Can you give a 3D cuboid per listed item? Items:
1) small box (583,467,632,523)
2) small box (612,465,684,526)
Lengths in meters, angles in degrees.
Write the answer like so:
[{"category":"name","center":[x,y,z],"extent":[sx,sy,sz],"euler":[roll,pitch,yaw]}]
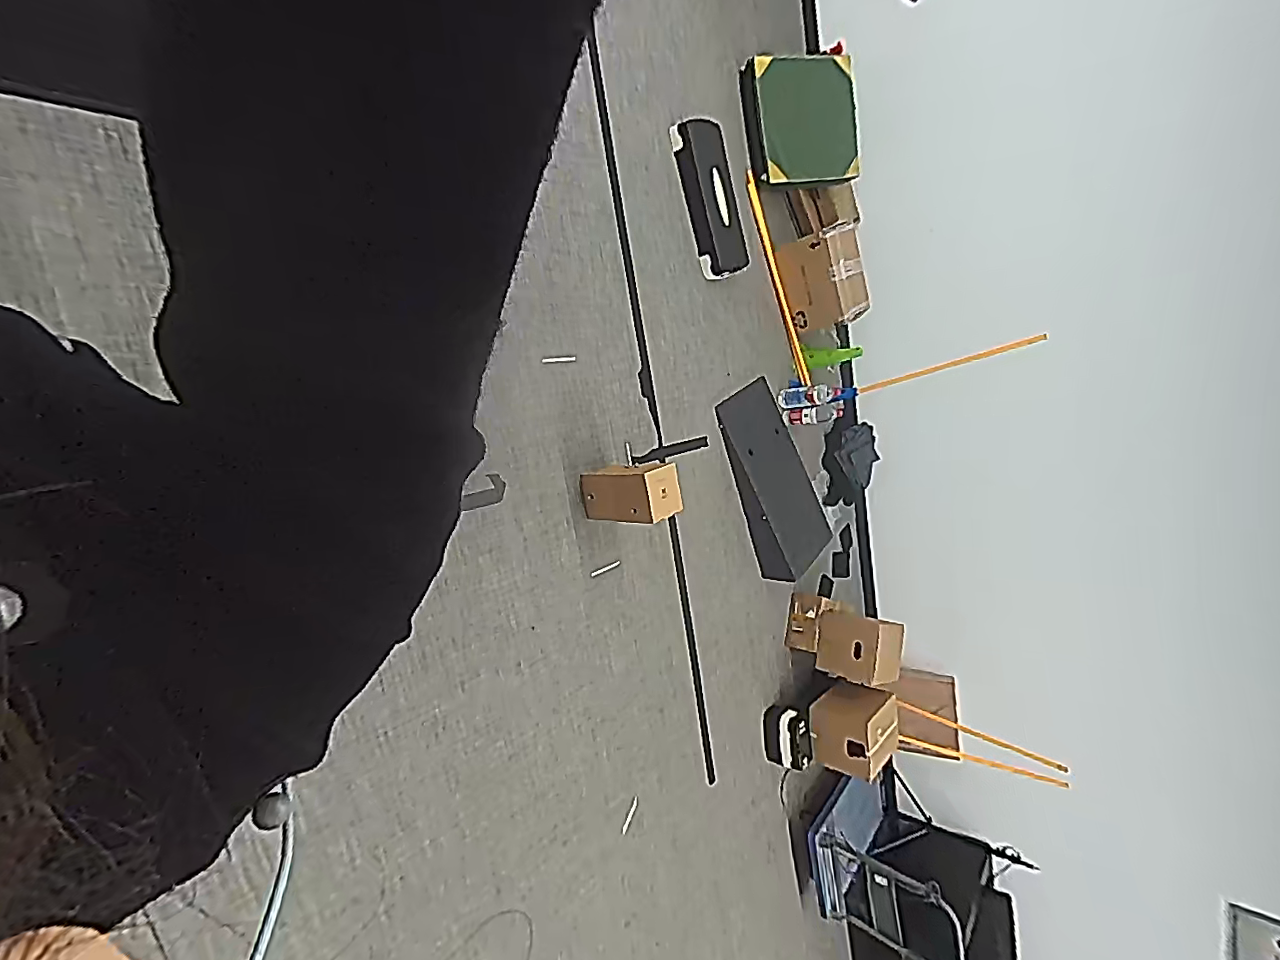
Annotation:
[{"category":"small box","center":[-0.091,0.050,1.991],"extent":[0.168,0.176,0.179],"euler":[-18,103,-45]},{"category":"small box","center":[0.025,0.049,1.875],"extent":[0.168,0.176,0.179],"euler":[-20,104,-45]}]
